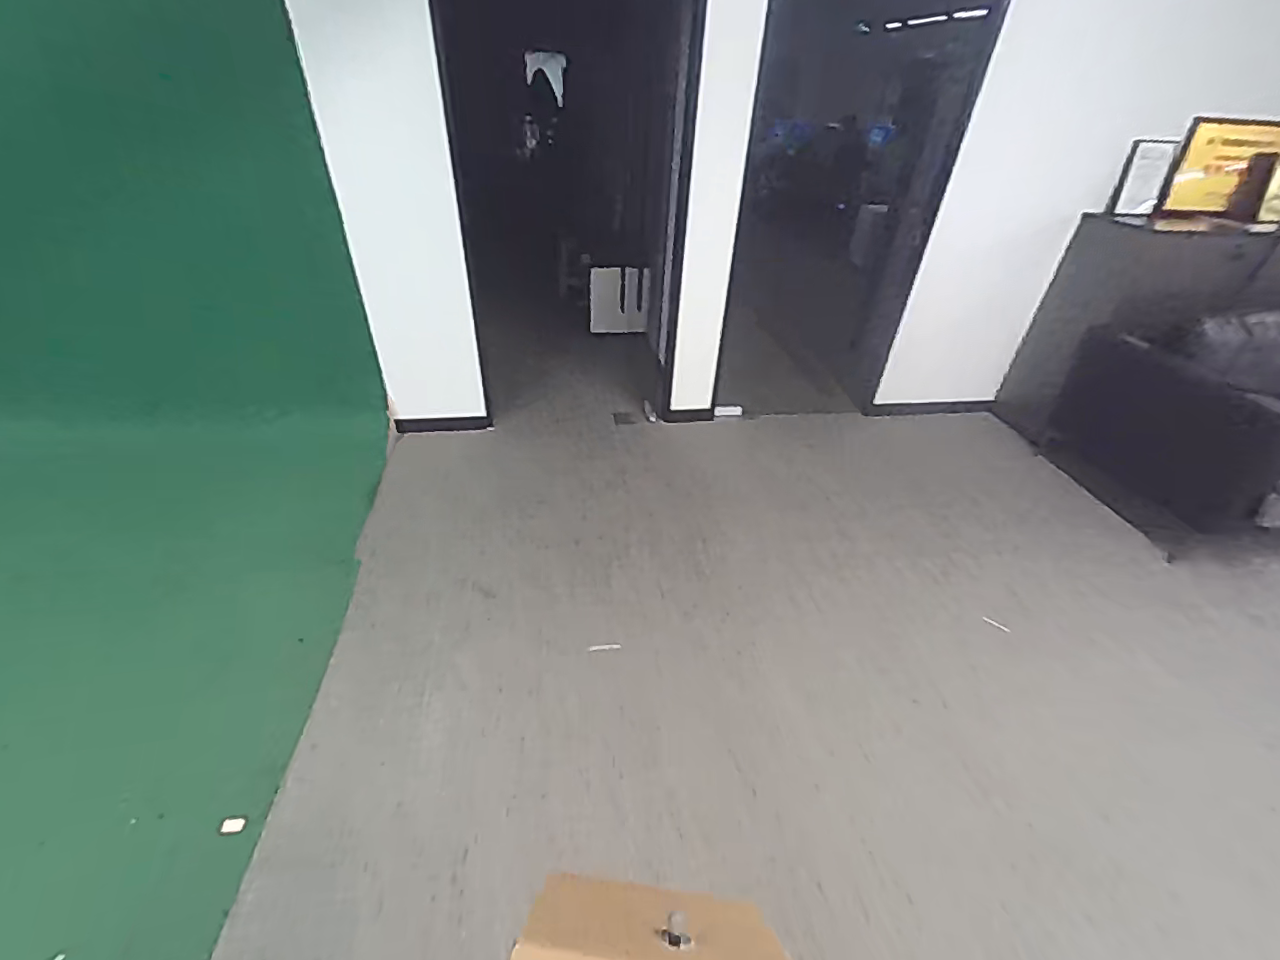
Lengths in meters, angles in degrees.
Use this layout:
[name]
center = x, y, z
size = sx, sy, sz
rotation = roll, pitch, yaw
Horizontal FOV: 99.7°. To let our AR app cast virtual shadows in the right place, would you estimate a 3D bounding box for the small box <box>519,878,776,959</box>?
[small box]
center = 0.002, 0.388, 0.353
size = 0.179, 0.176, 0.168
rotation = 7, 66, 2
